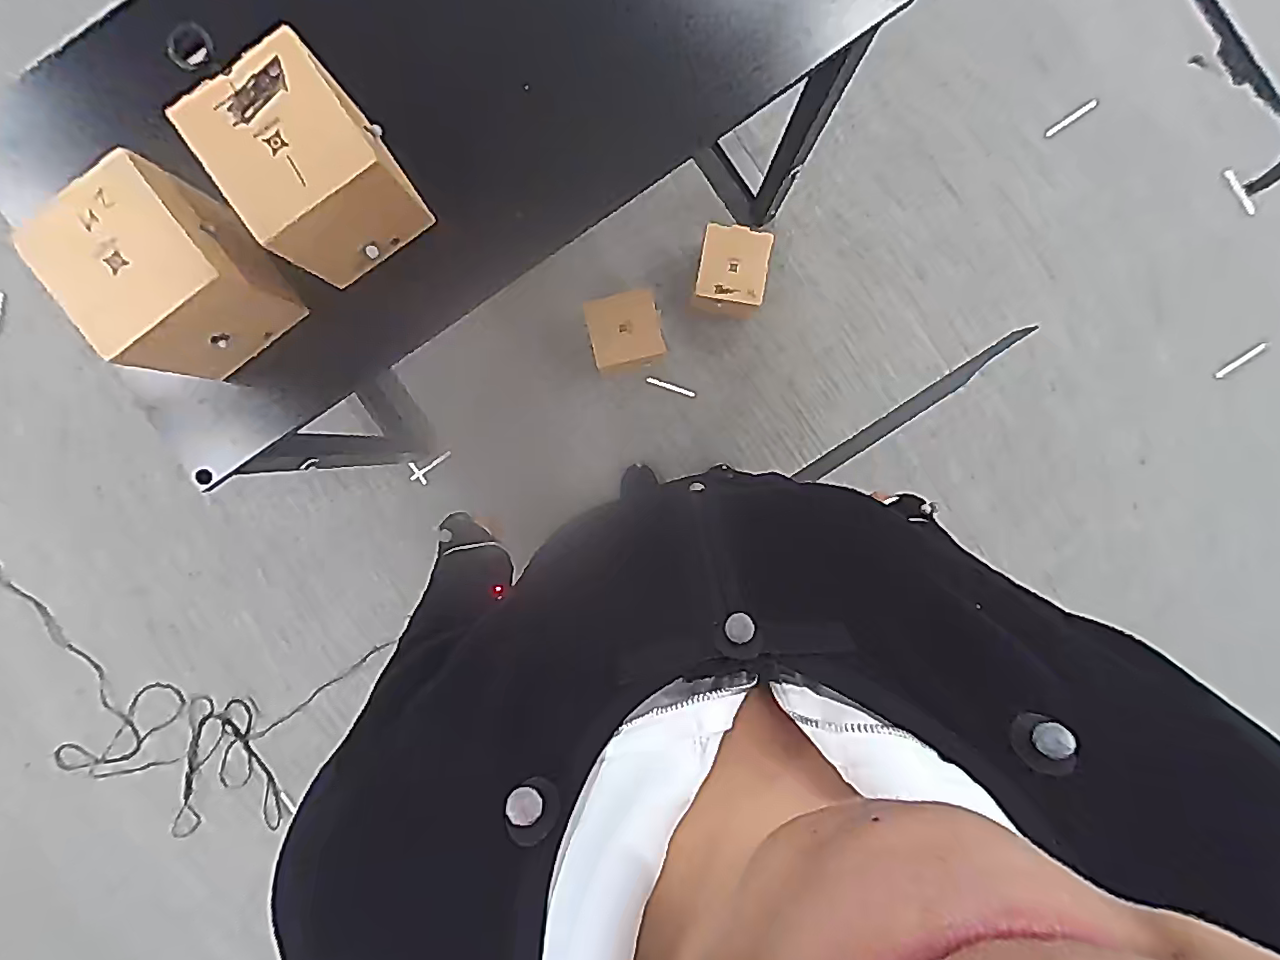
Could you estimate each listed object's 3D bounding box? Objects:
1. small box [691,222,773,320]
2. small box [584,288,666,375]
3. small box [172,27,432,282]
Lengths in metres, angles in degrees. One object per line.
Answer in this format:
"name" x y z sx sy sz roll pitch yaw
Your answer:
"small box" 0.227 -0.528 1.384 0.168 0.176 0.179 9 94 0
"small box" -0.036 -0.378 1.399 0.179 0.176 0.168 -13 93 2
"small box" -0.397 -0.380 0.670 0.168 0.176 0.179 -34 93 3
